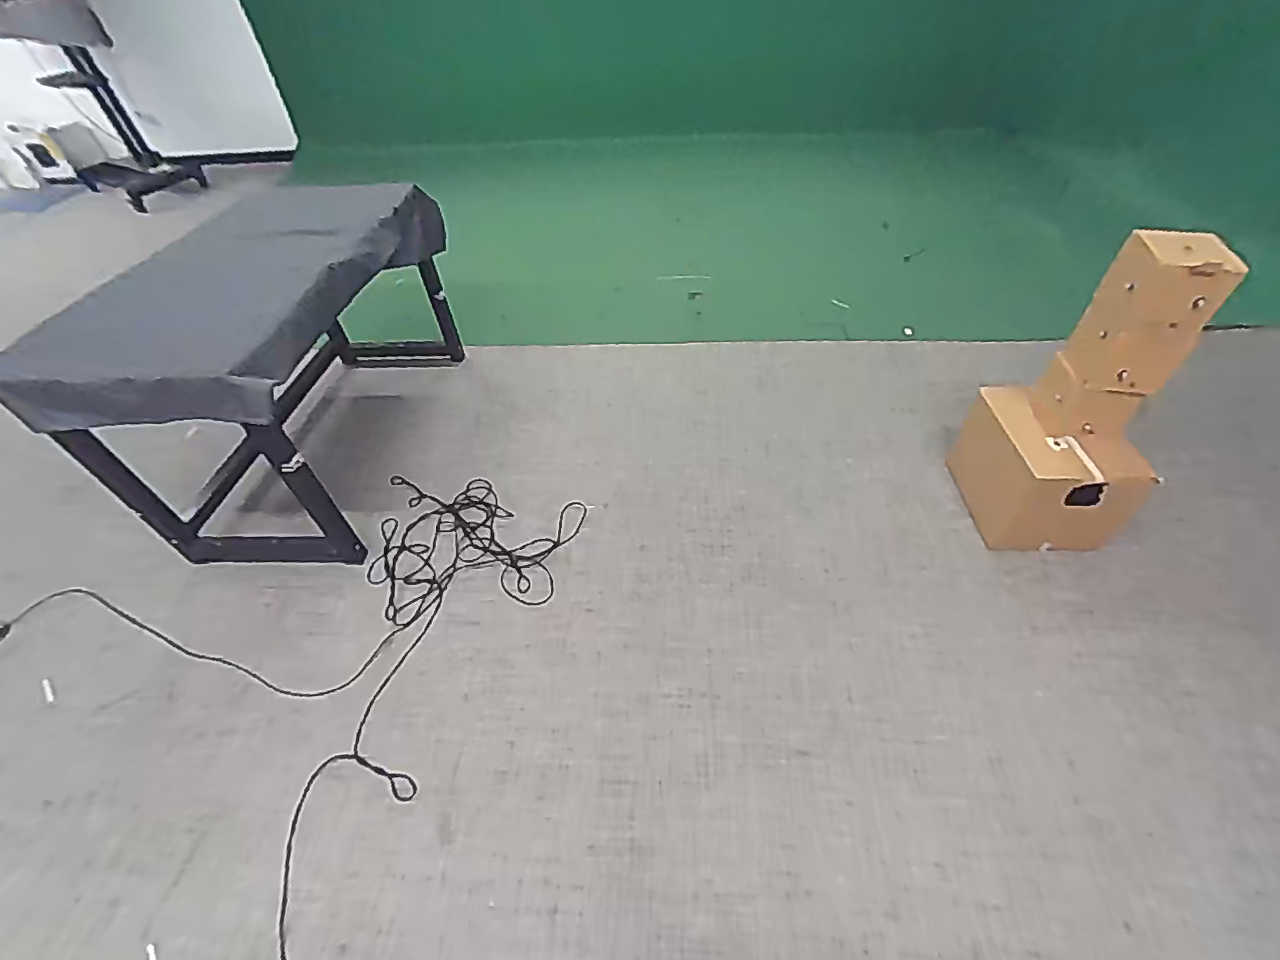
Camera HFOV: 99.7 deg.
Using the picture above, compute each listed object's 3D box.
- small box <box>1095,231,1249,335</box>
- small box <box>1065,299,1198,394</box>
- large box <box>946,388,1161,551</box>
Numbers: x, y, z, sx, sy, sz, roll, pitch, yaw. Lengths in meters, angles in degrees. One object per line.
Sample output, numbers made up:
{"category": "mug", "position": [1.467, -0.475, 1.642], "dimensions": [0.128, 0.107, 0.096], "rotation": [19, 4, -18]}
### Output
{"category": "small box", "position": [1.218, -0.457, 1.257], "dimensions": [0.168, 0.176, 0.179], "rotation": [9, 48, 10]}
{"category": "small box", "position": [1.231, -0.344, 1.374], "dimensions": [0.168, 0.176, 0.179], "rotation": [7, 49, 10]}
{"category": "large box", "position": [1.205, -0.034, 1.642], "dimensions": [0.320, 0.320, 0.408], "rotation": [-1, 47, 4]}
